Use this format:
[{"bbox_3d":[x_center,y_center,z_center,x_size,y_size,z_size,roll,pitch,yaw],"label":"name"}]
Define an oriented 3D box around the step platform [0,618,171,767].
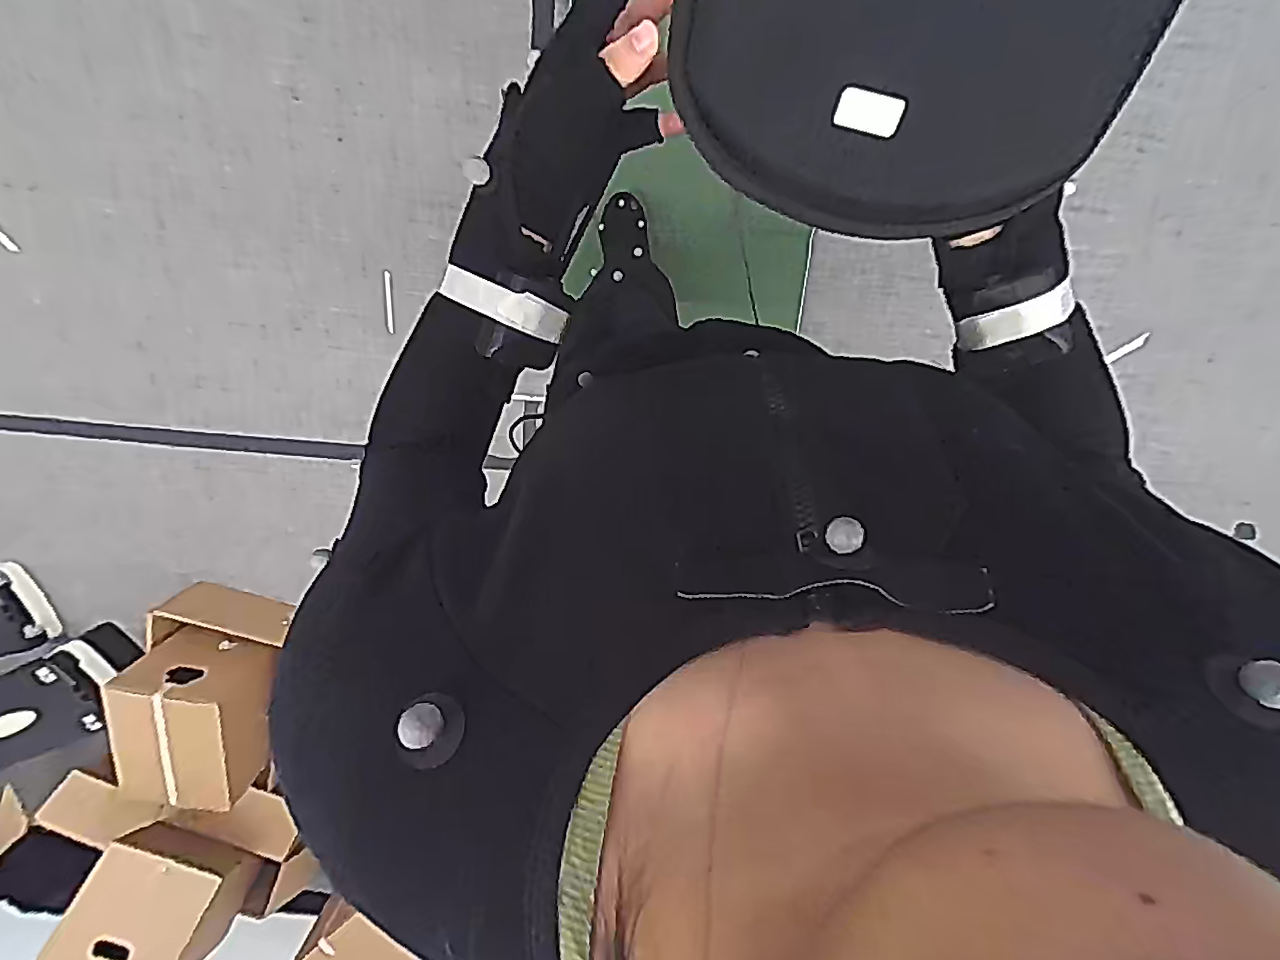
[{"bbox_3d":[-1.959,0.717,1.790,0.684,0.204,0.286,-23,108,9],"label":"step platform"}]
